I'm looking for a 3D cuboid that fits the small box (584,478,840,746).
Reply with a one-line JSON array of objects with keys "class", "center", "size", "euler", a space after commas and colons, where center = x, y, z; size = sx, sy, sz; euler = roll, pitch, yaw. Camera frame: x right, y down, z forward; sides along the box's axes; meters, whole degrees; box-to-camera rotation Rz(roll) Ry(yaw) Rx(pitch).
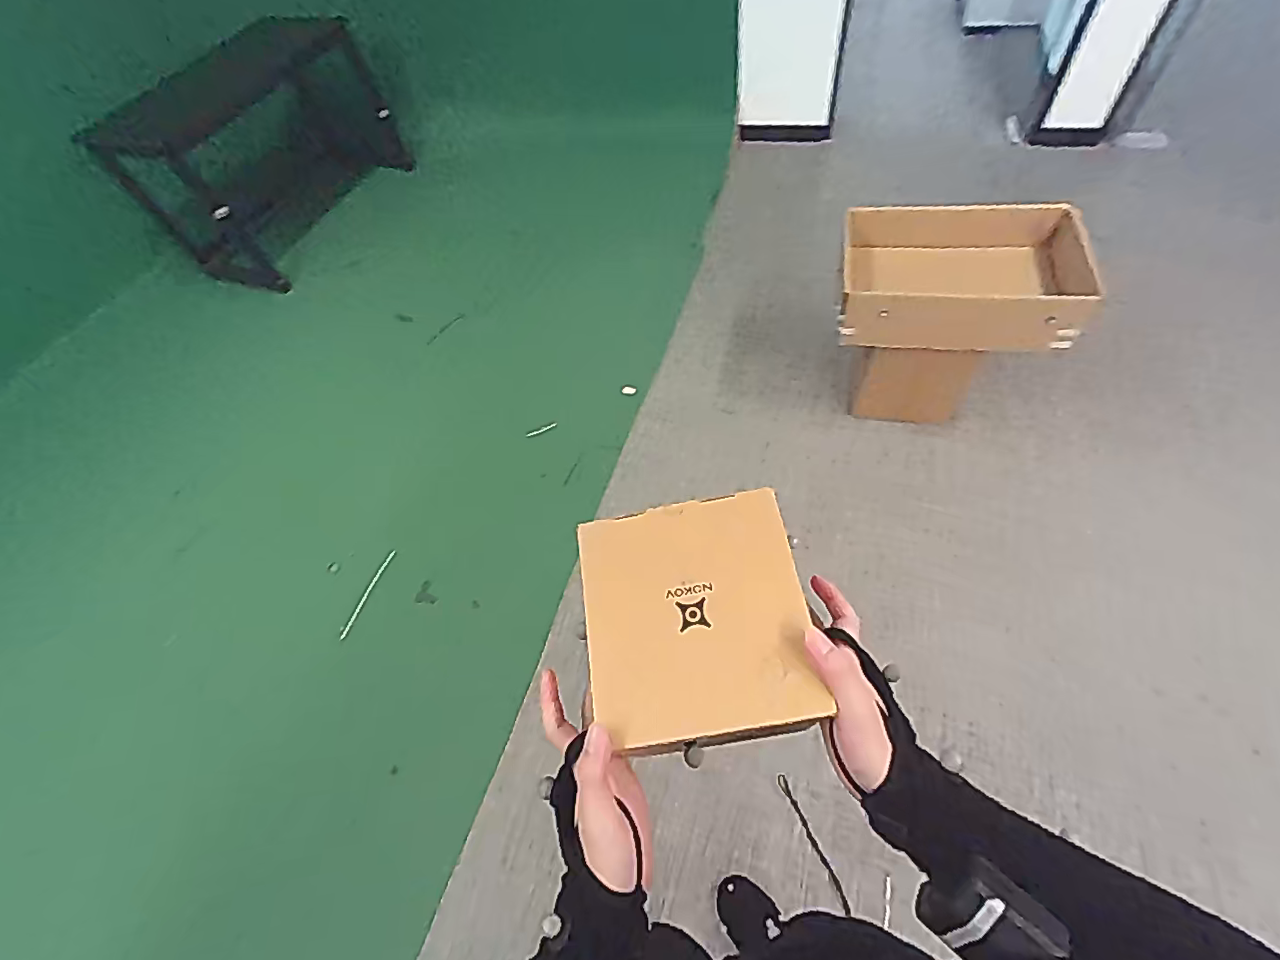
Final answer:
[{"class": "small box", "center": [0.056, 0.124, 0.464], "size": [0.168, 0.176, 0.179], "euler": [-10, 60, 5]}]
